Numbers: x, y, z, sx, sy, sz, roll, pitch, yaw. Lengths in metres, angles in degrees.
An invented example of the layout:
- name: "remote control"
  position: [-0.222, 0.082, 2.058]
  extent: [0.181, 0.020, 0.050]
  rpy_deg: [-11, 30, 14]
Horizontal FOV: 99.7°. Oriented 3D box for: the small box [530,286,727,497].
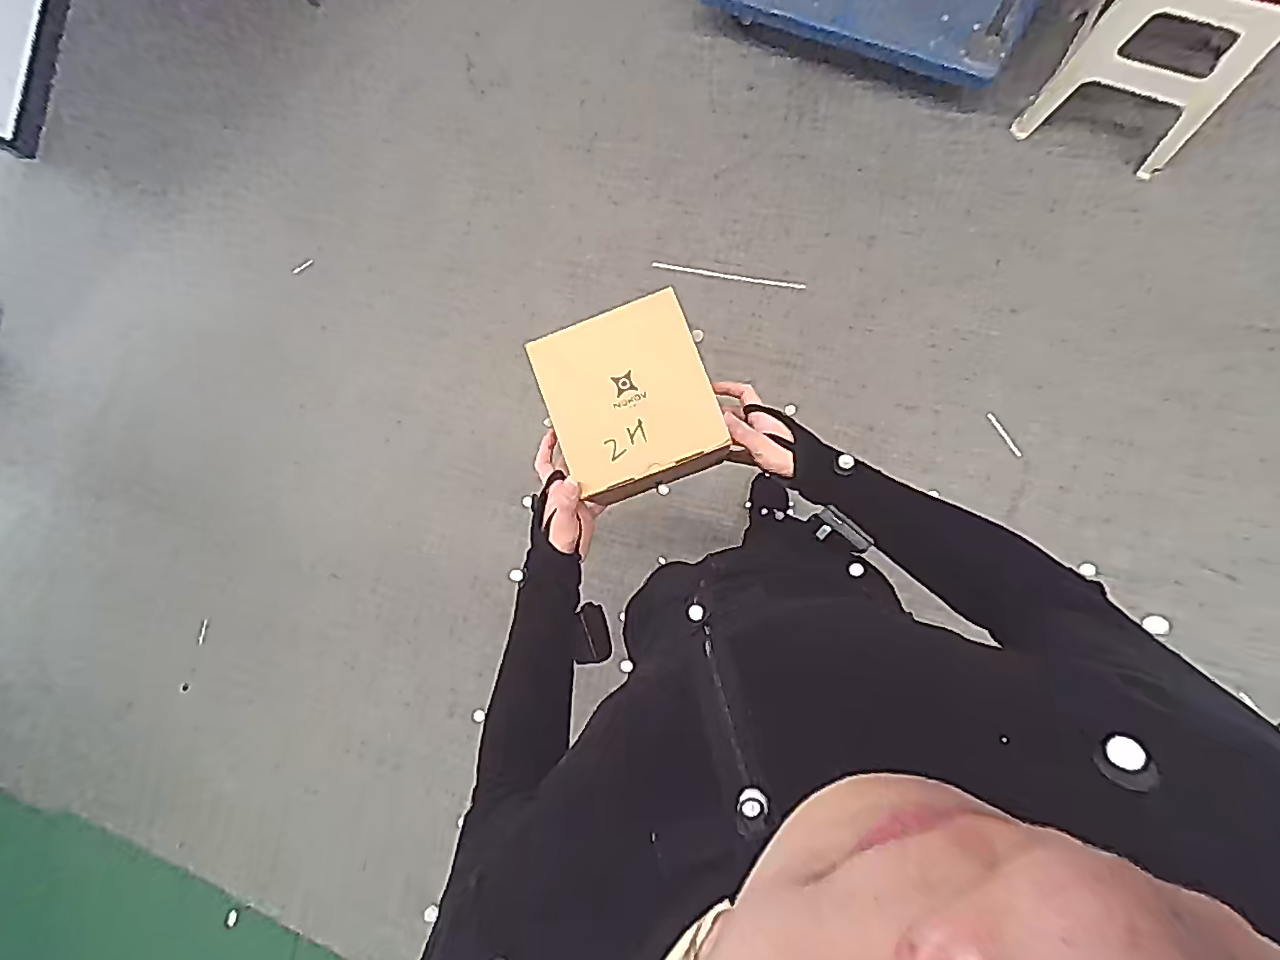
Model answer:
- name: "small box"
  position: [-0.008, -0.089, 0.634]
  extent: [0.168, 0.176, 0.179]
  rpy_deg: [-19, 84, 3]
